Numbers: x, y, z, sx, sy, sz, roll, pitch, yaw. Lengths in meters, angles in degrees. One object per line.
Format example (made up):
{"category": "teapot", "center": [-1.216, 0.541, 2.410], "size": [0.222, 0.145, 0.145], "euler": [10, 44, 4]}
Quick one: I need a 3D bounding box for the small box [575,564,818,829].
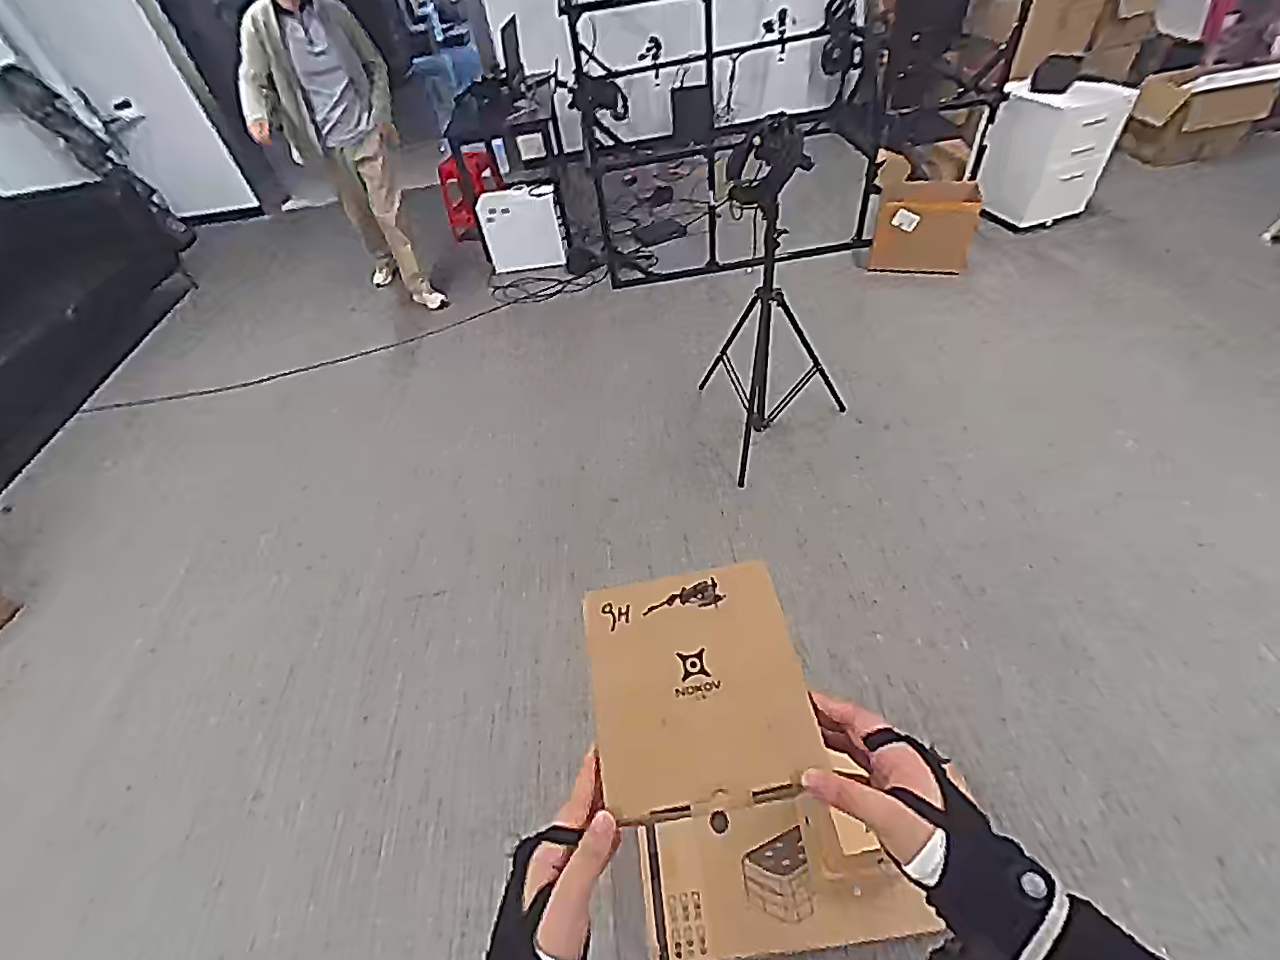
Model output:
{"category": "small box", "center": [0.044, 0.201, 0.498], "size": [0.168, 0.176, 0.179], "euler": [-11, 58, -1]}

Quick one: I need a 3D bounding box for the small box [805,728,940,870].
{"category": "small box", "center": [0.402, 0.580, 0.983], "size": [0.168, 0.176, 0.179], "euler": [-10, 46, 0]}

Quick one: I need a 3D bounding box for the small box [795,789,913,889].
{"category": "small box", "center": [0.417, 0.704, 1.092], "size": [0.168, 0.176, 0.179], "euler": [-6, 47, 4]}
